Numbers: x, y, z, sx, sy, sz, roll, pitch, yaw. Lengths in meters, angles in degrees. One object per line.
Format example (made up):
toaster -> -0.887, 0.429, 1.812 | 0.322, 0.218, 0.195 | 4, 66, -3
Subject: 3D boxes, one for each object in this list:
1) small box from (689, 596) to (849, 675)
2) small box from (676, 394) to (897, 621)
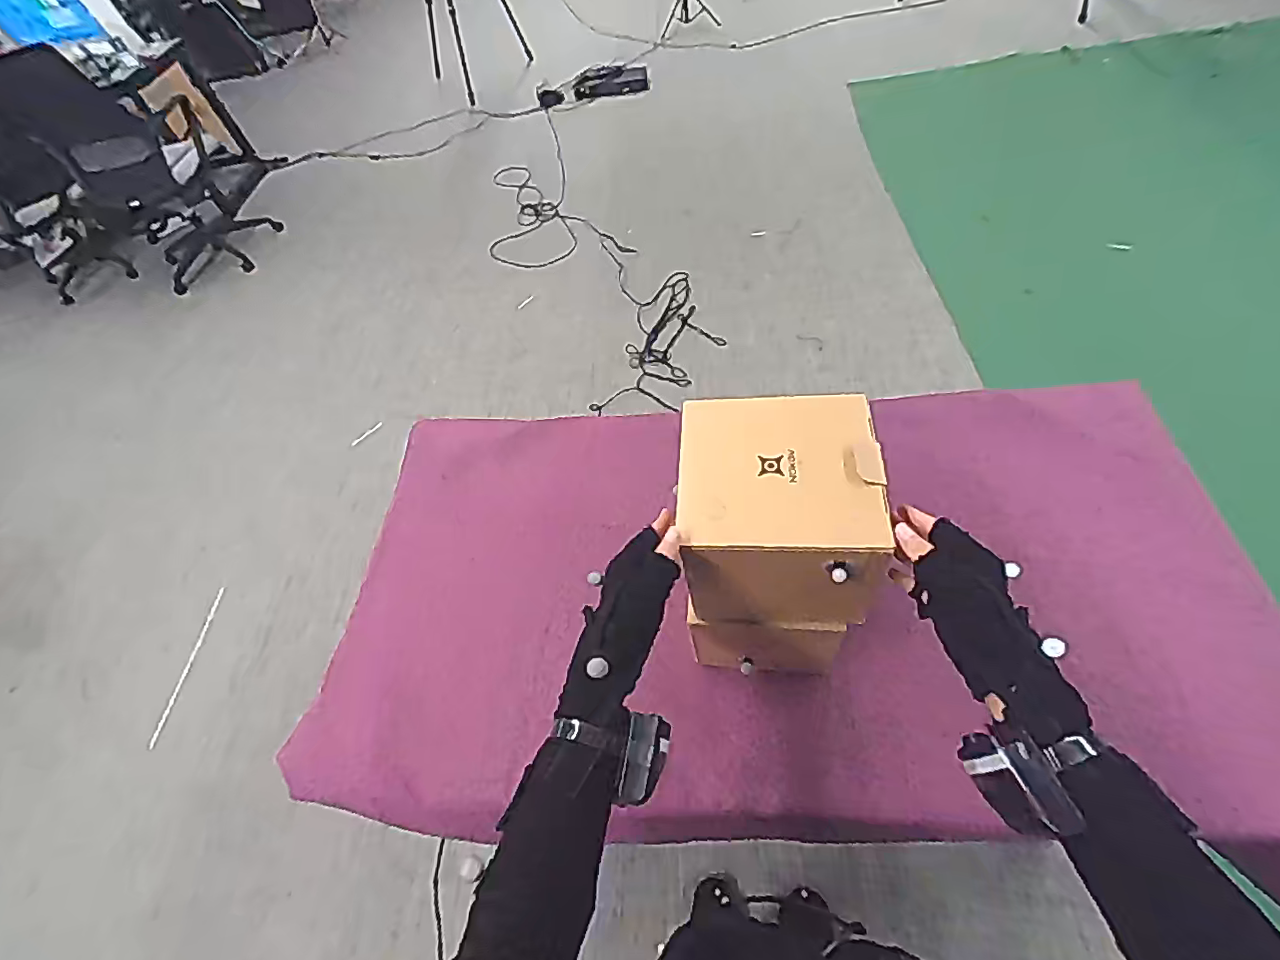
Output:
small box -> 0.154, 0.126, 0.671 | 0.168, 0.176, 0.179 | 0, 56, 12
small box -> 0.135, 0.034, 0.540 | 0.179, 0.176, 0.168 | -1, 55, 10
